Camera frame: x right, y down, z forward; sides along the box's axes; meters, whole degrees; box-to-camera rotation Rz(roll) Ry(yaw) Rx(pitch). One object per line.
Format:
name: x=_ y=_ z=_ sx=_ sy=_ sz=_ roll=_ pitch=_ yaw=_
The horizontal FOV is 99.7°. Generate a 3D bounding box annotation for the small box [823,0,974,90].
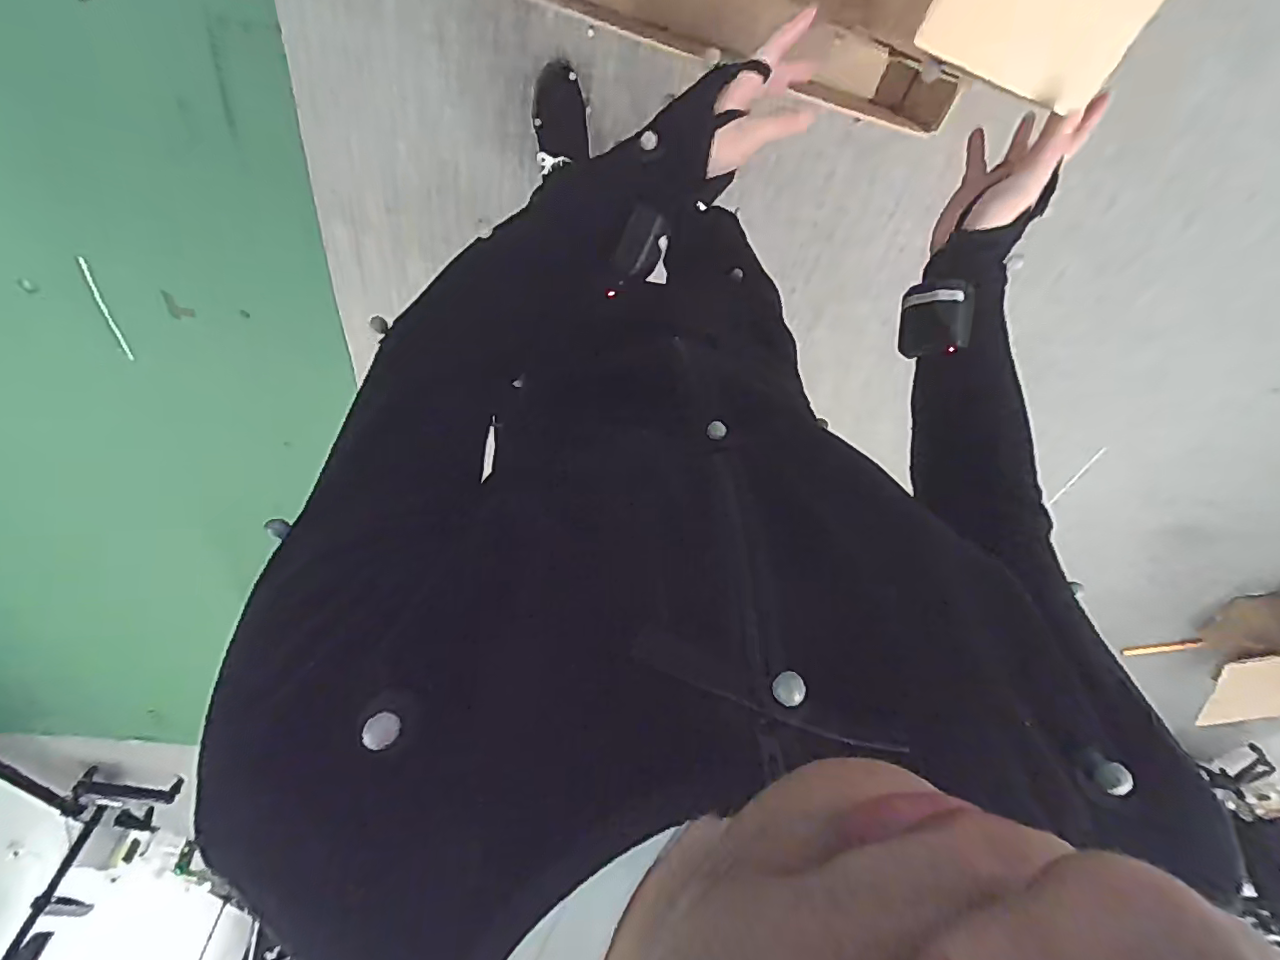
small box: x=0.311 y=-0.547 z=0.561 sx=0.168 sy=0.176 sz=0.179 roll=13 pitch=131 yaw=-12

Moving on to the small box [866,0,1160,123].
small box: x=0.312 y=-0.435 z=0.443 sx=0.168 sy=0.176 sz=0.179 roll=14 pitch=132 yaw=-12
